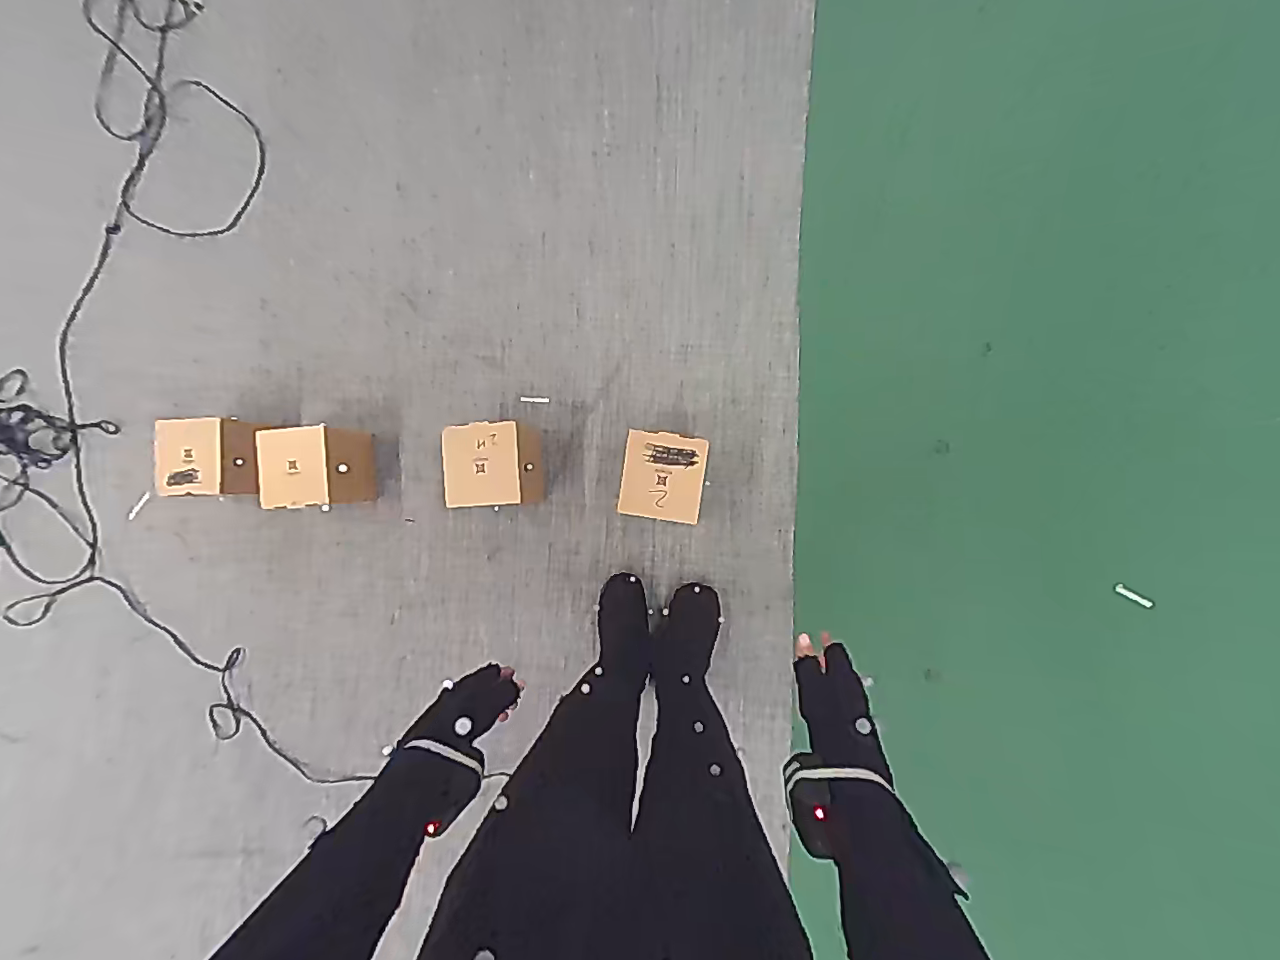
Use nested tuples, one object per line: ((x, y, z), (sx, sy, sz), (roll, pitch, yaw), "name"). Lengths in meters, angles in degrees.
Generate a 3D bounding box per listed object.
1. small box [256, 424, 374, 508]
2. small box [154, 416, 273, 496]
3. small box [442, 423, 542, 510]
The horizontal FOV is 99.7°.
((-0.745, -0.029, 1.253), (0.168, 0.176, 0.179), (-4, 90, 7), "small box")
((-0.998, -0.053, 1.282), (0.168, 0.176, 0.179), (-1, 89, 7), "small box")
((-0.321, -0.030, 1.203), (0.168, 0.176, 0.179), (-3, 90, 5), "small box")
